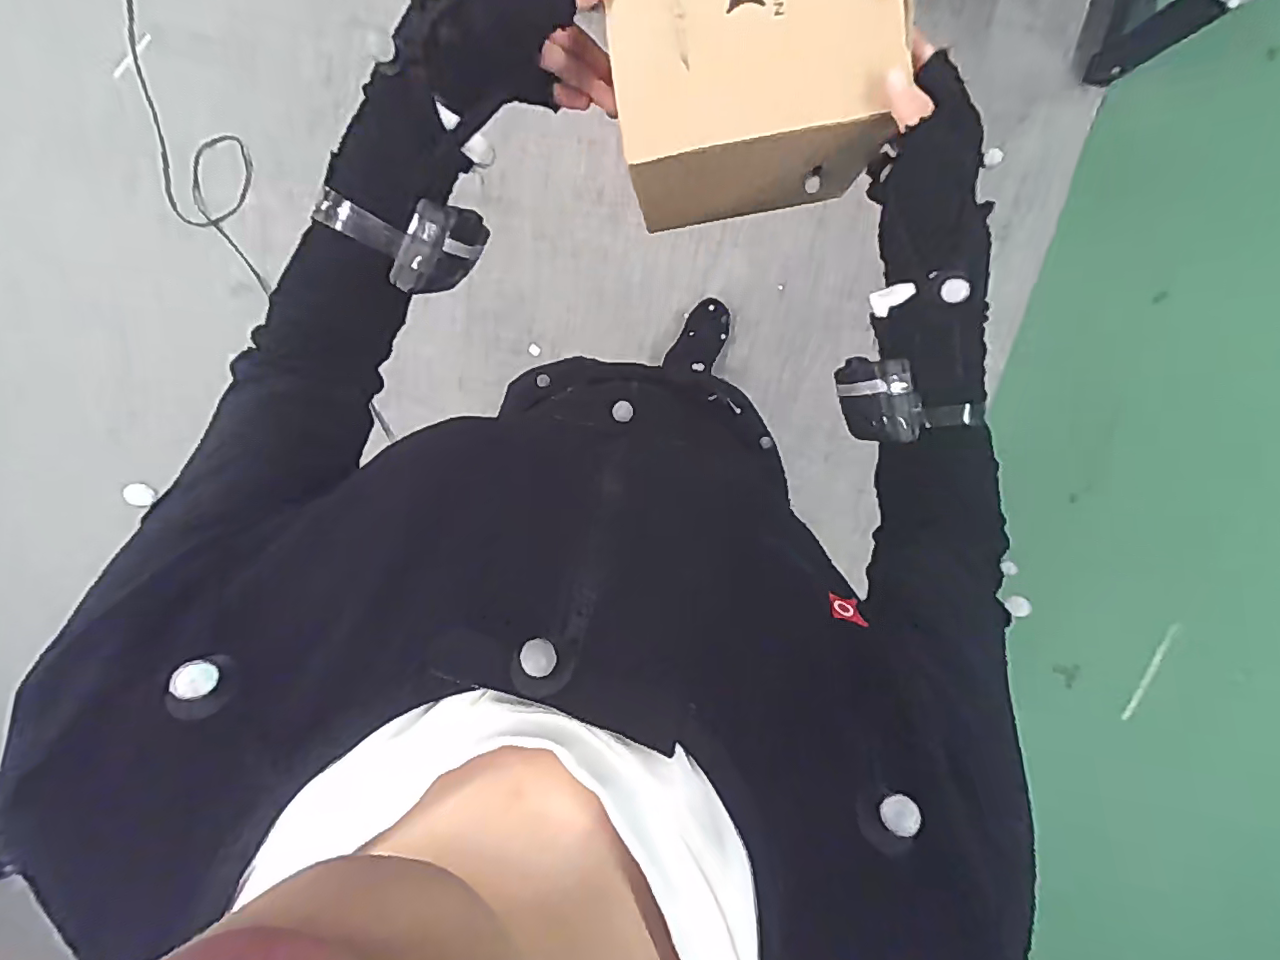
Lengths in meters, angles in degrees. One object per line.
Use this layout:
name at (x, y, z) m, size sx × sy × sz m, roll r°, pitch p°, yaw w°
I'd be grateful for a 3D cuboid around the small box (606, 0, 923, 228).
small box at (0.075, -0.301, 0.387) m, size 0.179 × 0.176 × 0.168 m, roll -8°, pitch 98°, yaw 9°
